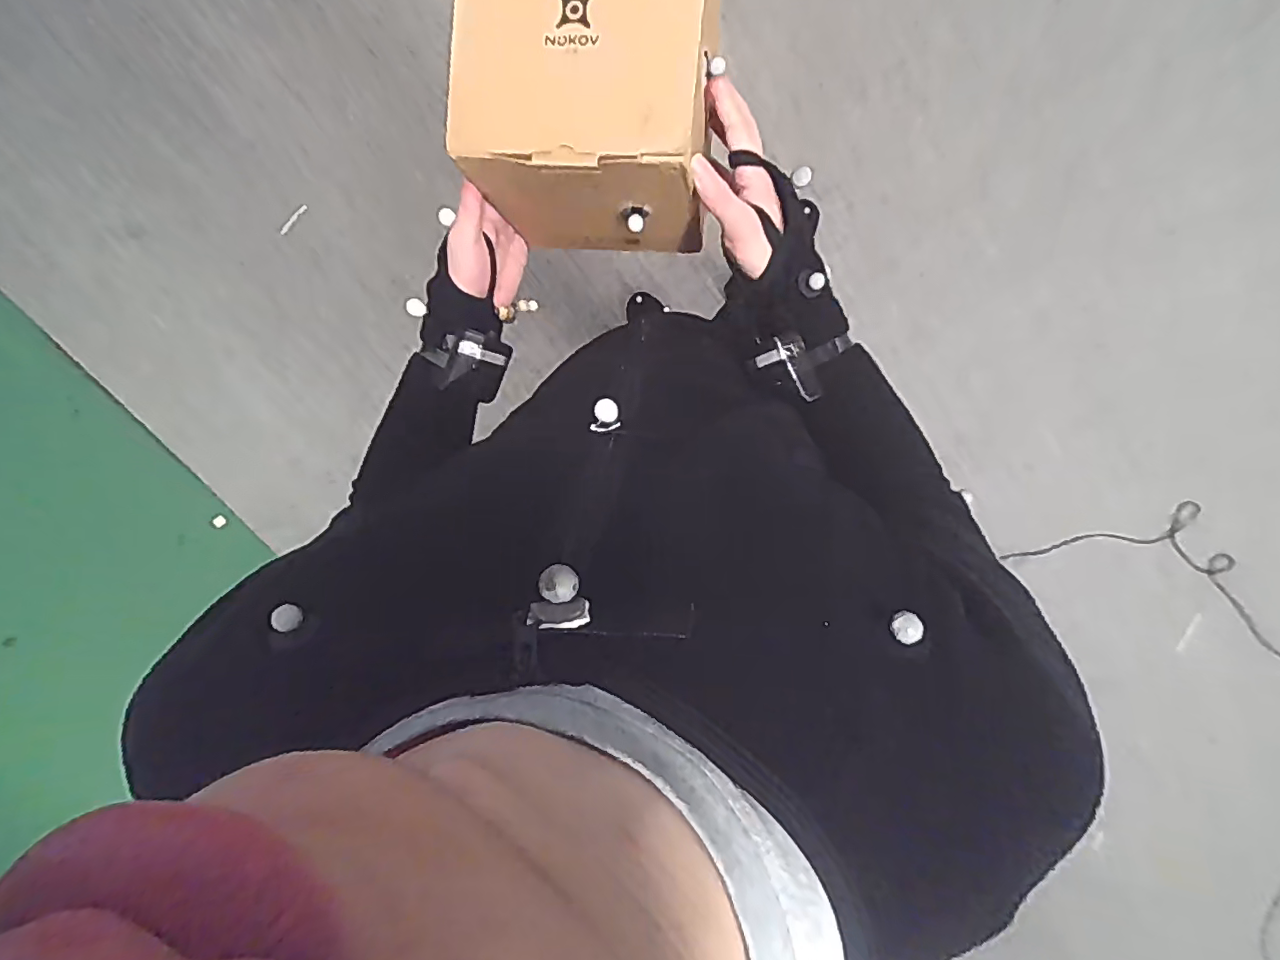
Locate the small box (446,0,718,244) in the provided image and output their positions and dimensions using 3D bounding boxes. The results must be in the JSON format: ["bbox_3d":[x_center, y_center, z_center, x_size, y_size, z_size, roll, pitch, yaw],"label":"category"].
[{"bbox_3d":[-0.029,-0.300,0.420,0.168,0.176,0.179,5,93,8],"label":"small box"}]
